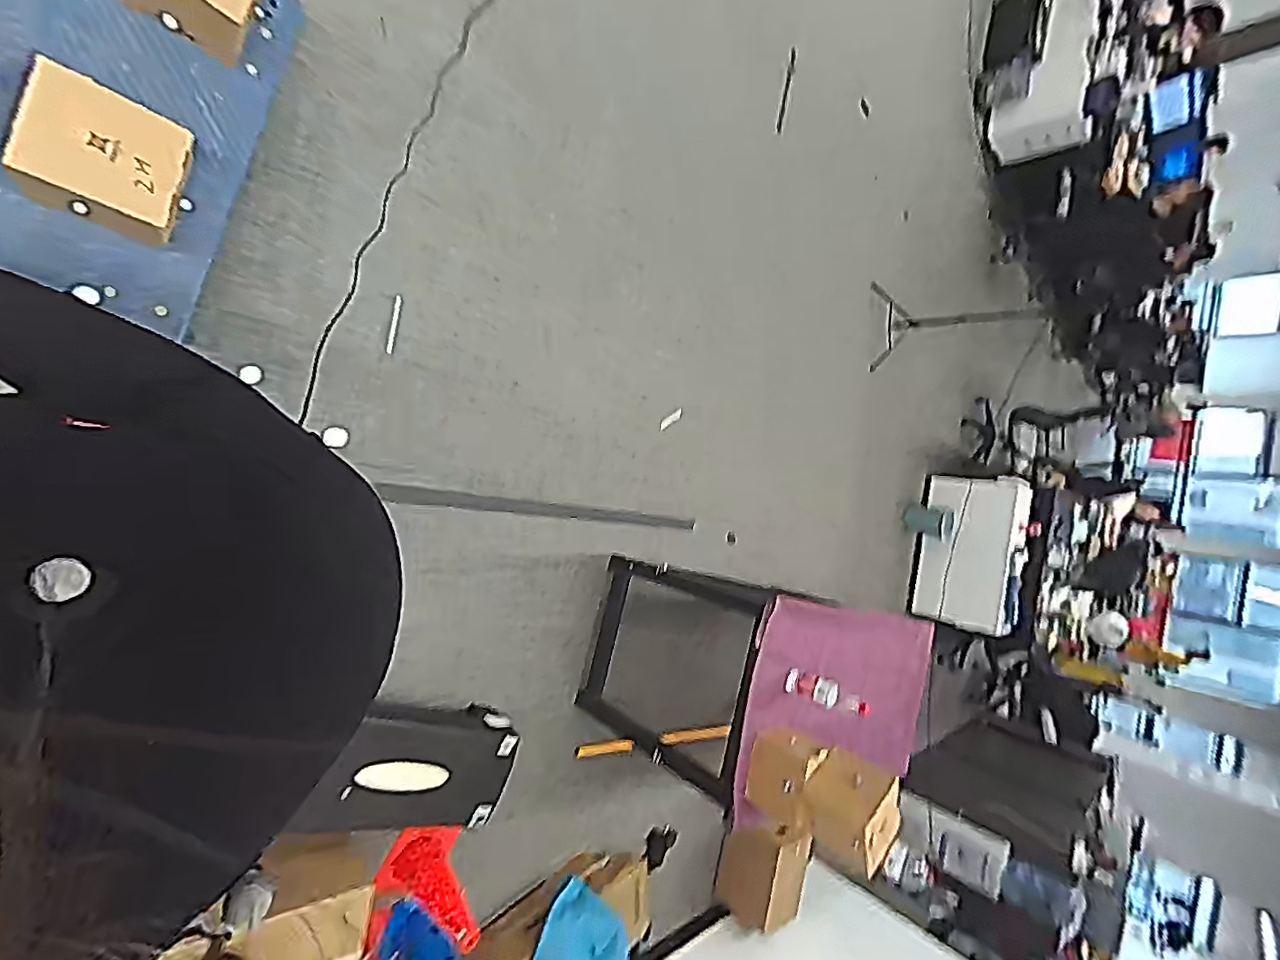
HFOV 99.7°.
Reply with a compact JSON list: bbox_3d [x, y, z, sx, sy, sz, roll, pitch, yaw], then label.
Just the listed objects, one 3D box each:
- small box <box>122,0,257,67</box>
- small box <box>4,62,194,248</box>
[{"bbox_3d":[-0.749,-0.857,0.905,0.168,0.176,0.179,21,83,-42],"label":"small box"},{"bbox_3d":[-0.849,-0.497,0.864,0.179,0.176,0.168,16,85,-43],"label":"small box"}]
